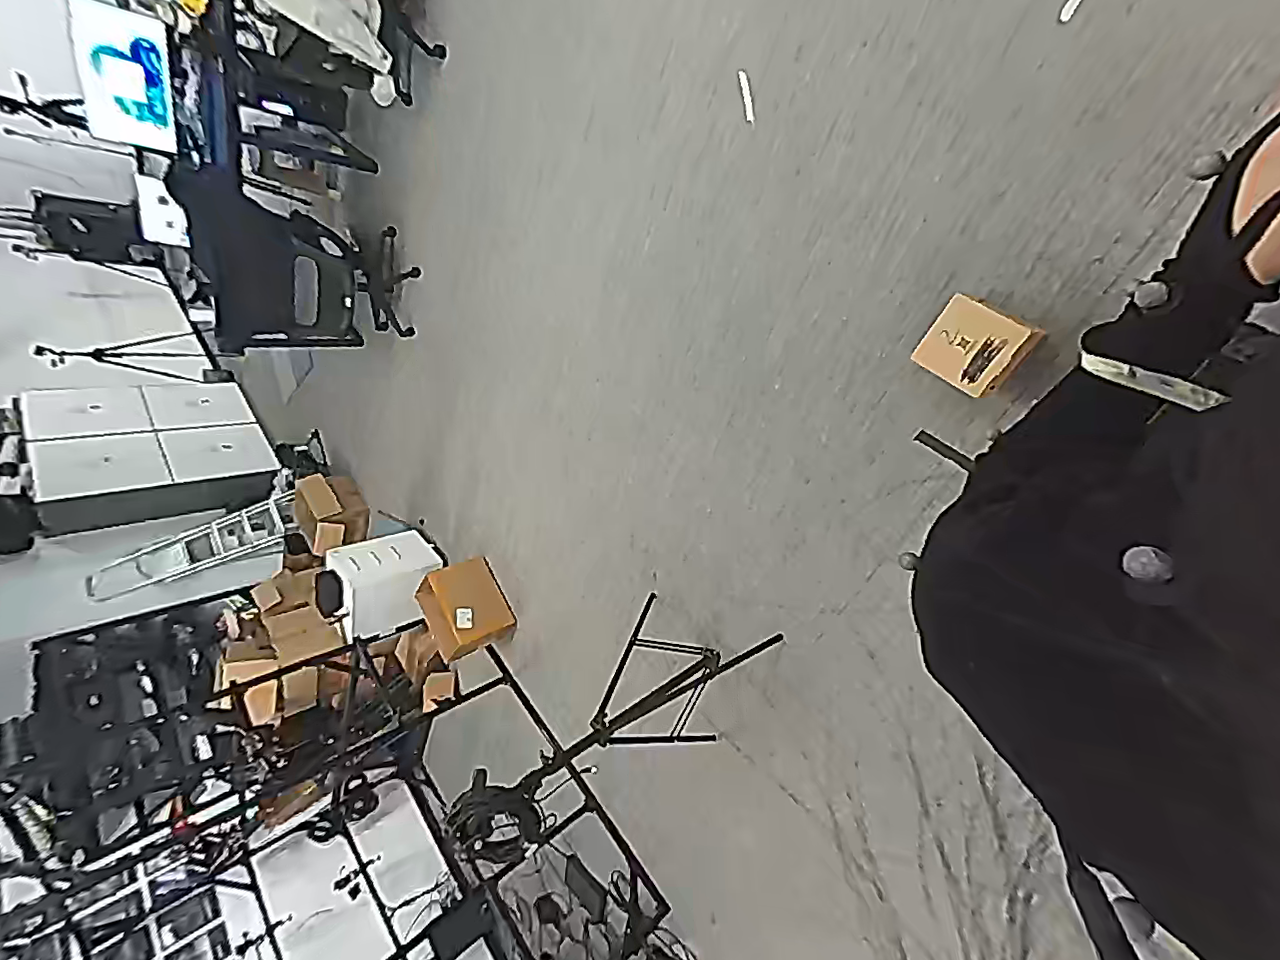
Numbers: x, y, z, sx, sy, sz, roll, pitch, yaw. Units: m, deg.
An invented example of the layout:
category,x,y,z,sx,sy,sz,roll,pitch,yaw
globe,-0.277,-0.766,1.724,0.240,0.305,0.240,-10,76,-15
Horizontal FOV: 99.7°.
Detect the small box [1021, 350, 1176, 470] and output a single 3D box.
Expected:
category,x,y,z,sx,sy,sz,roll,pitch,yaw
small box,0.930,-0.147,1.097,0.168,0.176,0.179,46,128,26
